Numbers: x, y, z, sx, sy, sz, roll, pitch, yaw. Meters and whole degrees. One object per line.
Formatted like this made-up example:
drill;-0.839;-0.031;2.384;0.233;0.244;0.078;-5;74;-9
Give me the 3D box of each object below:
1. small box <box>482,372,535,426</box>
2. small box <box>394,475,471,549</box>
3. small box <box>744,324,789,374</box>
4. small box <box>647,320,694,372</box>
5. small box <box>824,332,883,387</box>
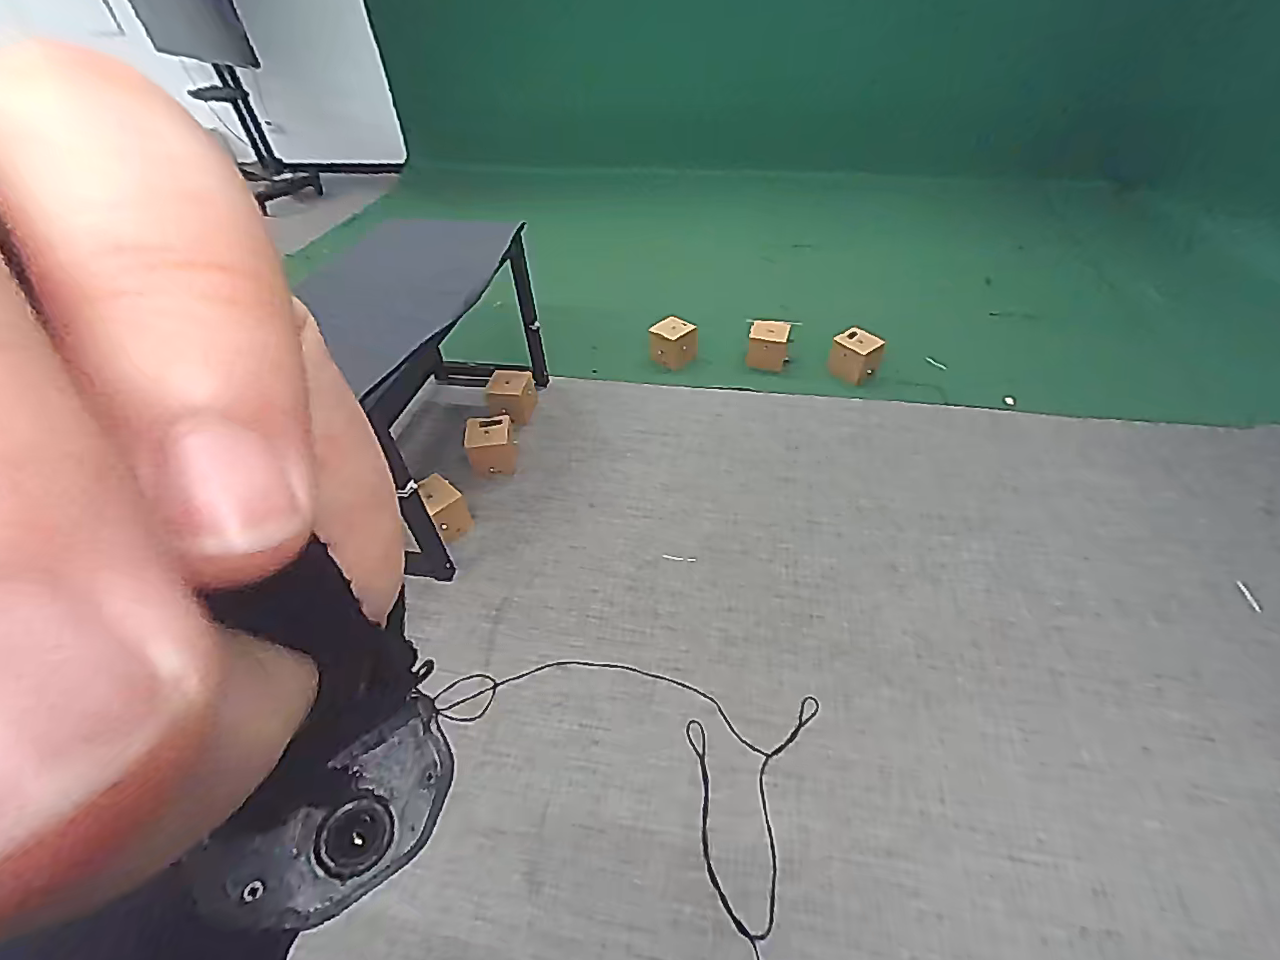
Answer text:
small box;-0.574;-0.356;2.390;0.168;0.176;0.179;5;45;6
small box;-0.731;0.122;1.923;0.179;0.176;0.168;32;54;30
small box;0.610;-0.633;2.620;0.179;0.176;0.168;13;48;13
small box;0.153;-0.660;2.668;0.168;0.176;0.179;33;55;31
small box;0.993;-0.561;2.531;0.168;0.176;0.179;-30;52;-25
